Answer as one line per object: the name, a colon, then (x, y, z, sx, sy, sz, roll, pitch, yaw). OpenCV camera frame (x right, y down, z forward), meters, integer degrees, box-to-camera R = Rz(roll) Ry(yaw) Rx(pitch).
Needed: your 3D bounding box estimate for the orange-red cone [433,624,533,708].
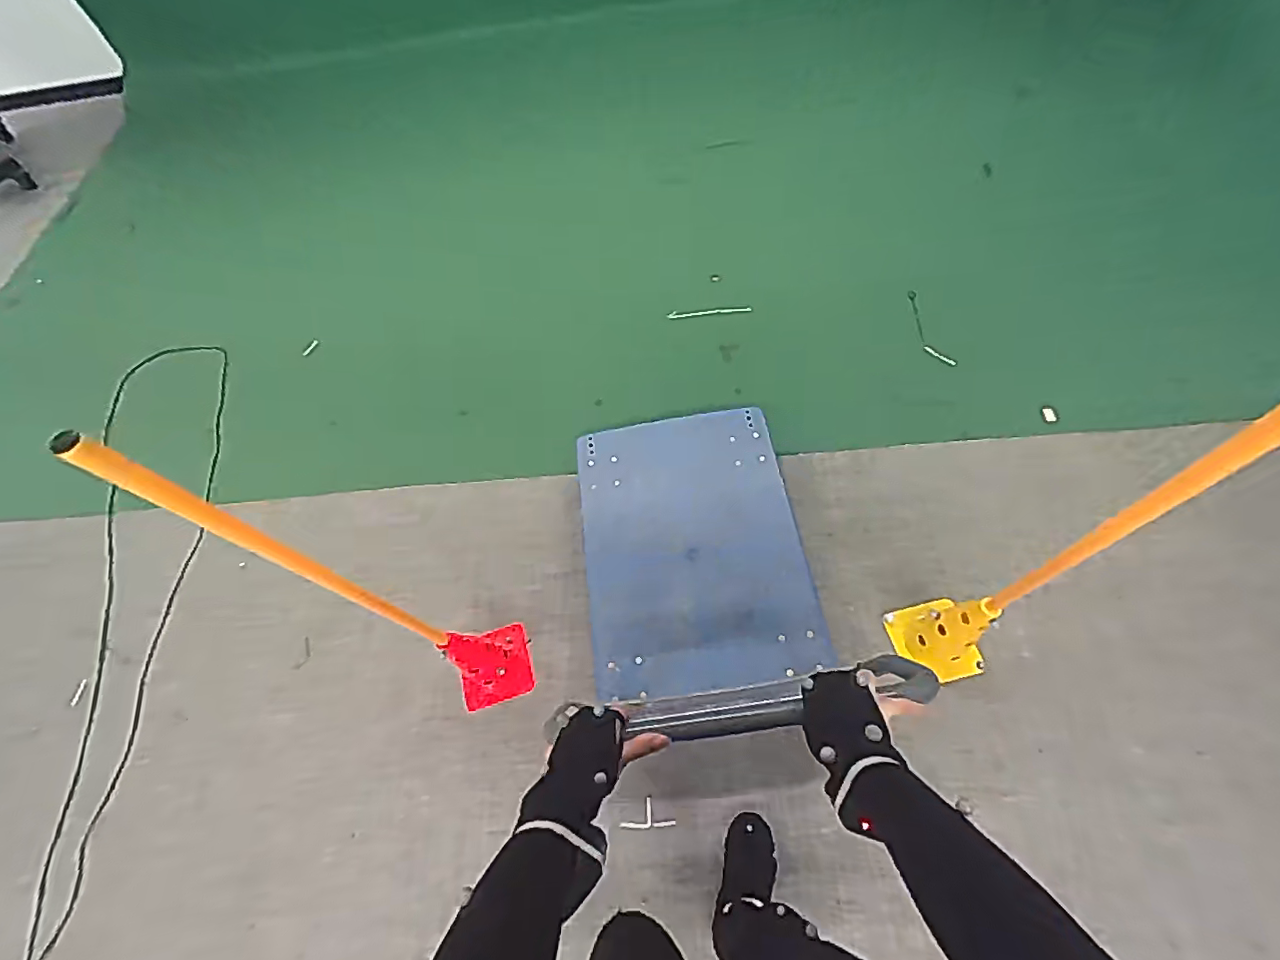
orange-red cone: (-0.429, 0.442, 1.371, 0.199, 0.360, 0.198, -18, 61, -1)
